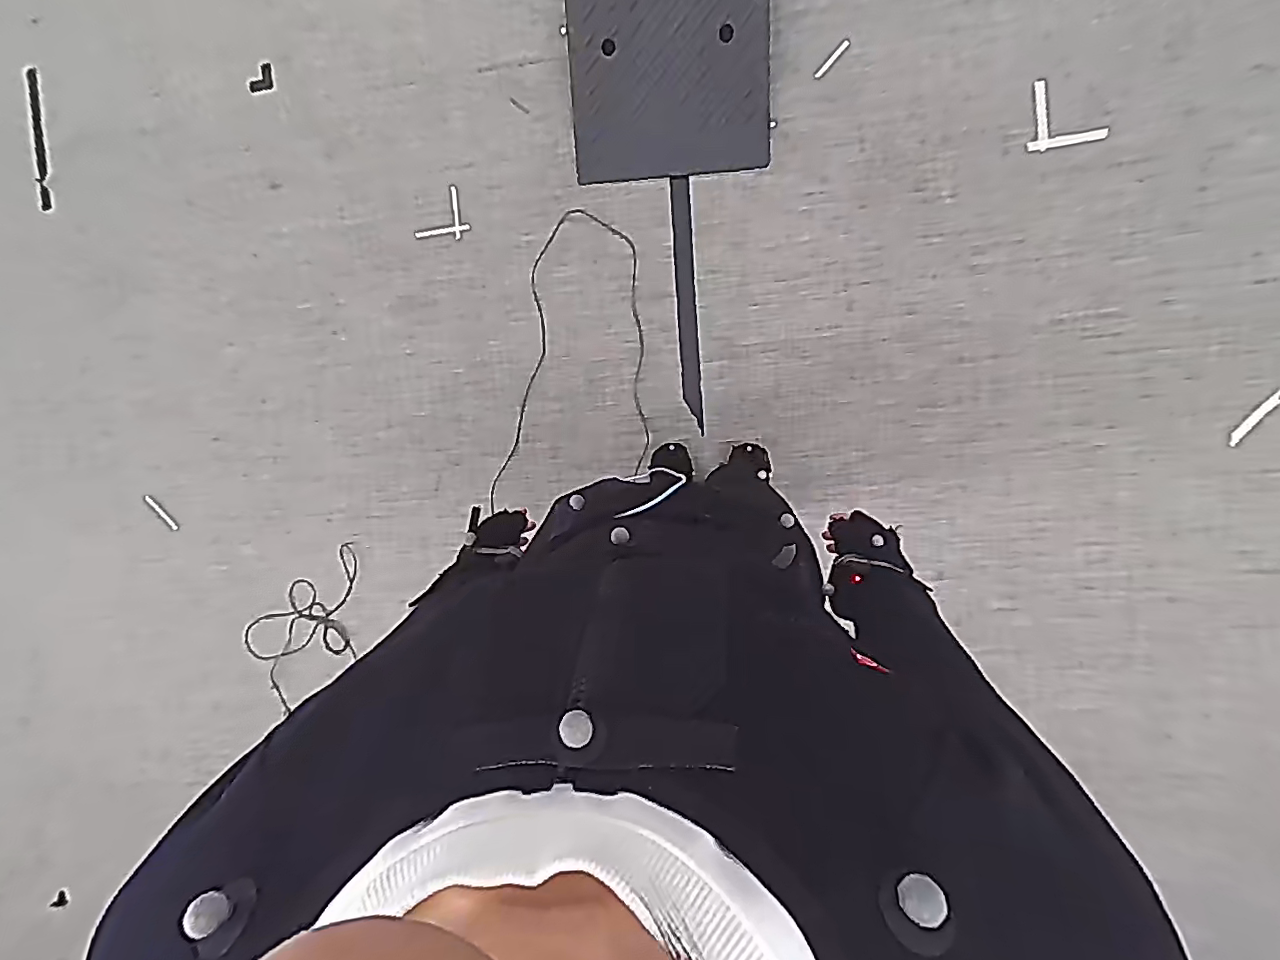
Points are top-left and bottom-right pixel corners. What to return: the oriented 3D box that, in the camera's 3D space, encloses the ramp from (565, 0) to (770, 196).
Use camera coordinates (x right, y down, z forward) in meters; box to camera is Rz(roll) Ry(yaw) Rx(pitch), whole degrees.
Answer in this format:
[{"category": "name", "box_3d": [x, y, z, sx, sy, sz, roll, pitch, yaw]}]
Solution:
[{"category": "ramp", "box_3d": [0.053, -1.249, 1.295, 0.509, 0.206, 0.991, -5, 93, 7]}]
